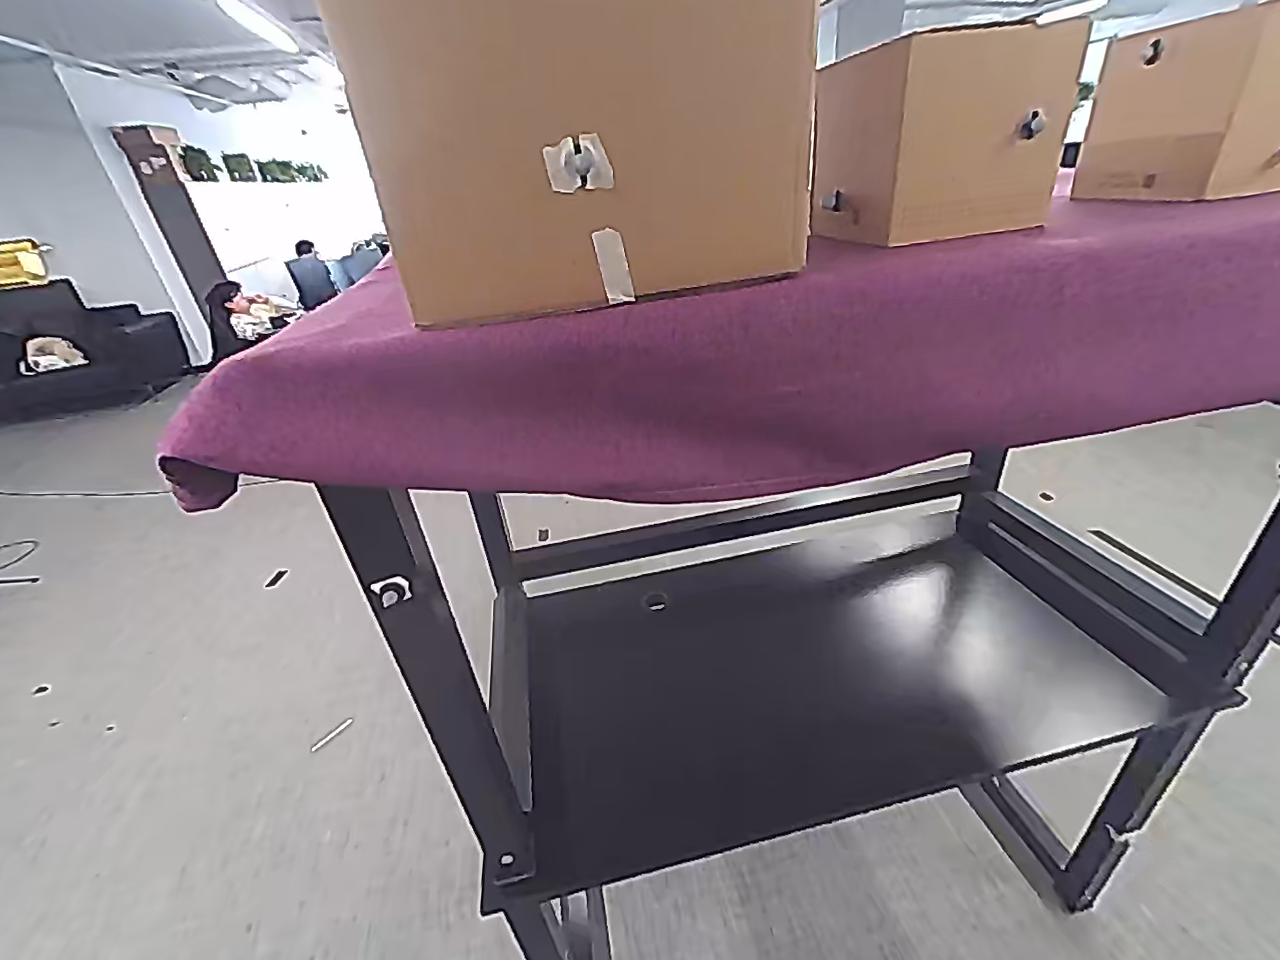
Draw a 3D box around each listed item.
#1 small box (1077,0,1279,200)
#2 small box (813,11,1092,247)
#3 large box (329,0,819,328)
[{"bbox_3d":[0.642,-0.415,0.597,0.179,0.176,0.168,-10,29,-6],"label":"small box"},{"bbox_3d":[0.295,-0.348,0.557,0.179,0.176,0.168,-11,29,-7],"label":"small box"},{"bbox_3d":[-0.073,-0.353,0.505,0.320,0.320,0.408,-11,29,-10],"label":"large box"}]
